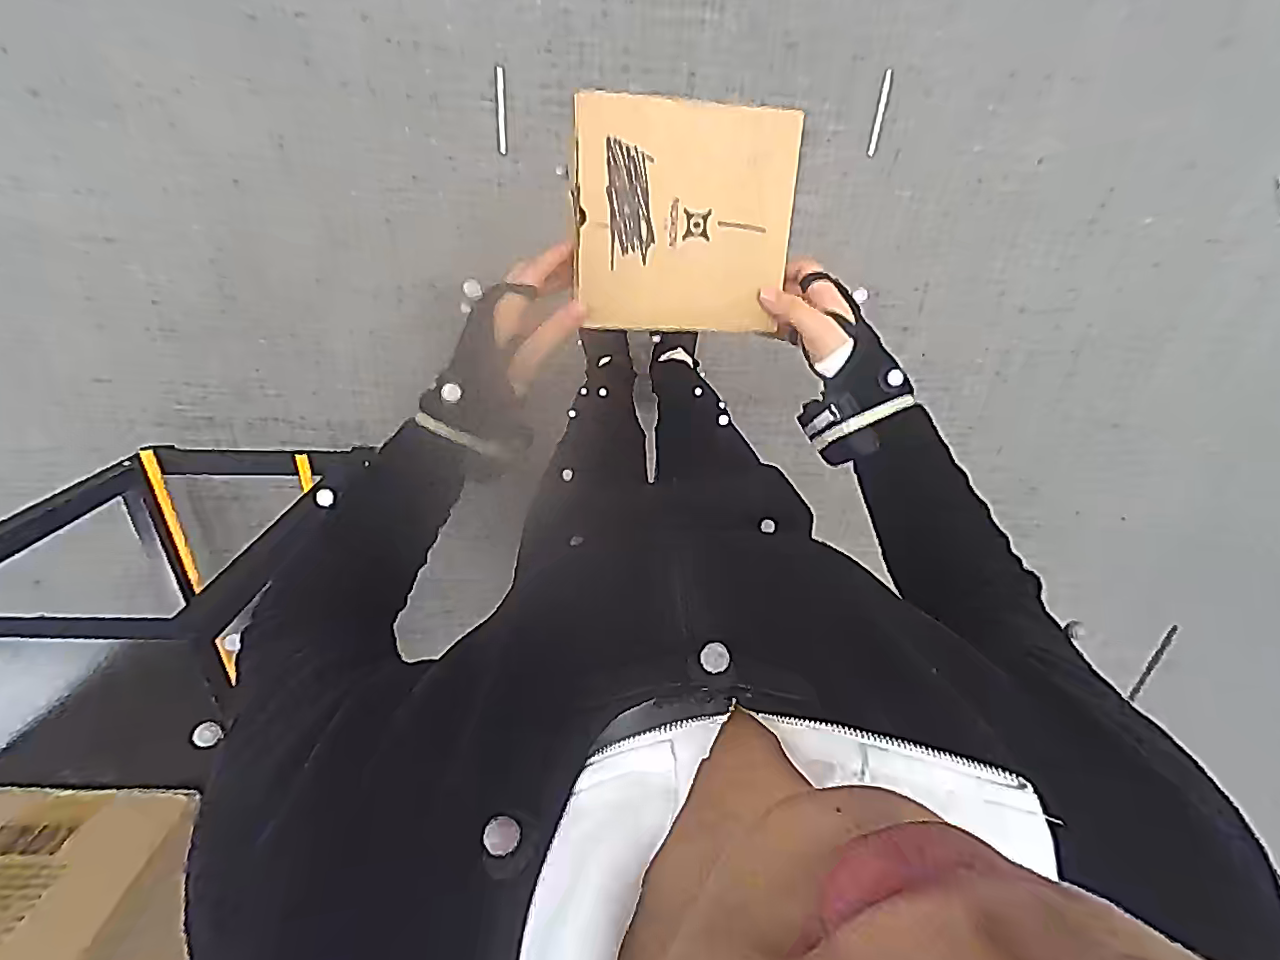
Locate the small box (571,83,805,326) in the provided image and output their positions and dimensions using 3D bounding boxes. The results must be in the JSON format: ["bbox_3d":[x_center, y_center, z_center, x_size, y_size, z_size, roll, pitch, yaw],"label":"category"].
[{"bbox_3d":[0.025,-0.238,0.502,0.179,0.176,0.168,-1,112,-9],"label":"small box"}]
